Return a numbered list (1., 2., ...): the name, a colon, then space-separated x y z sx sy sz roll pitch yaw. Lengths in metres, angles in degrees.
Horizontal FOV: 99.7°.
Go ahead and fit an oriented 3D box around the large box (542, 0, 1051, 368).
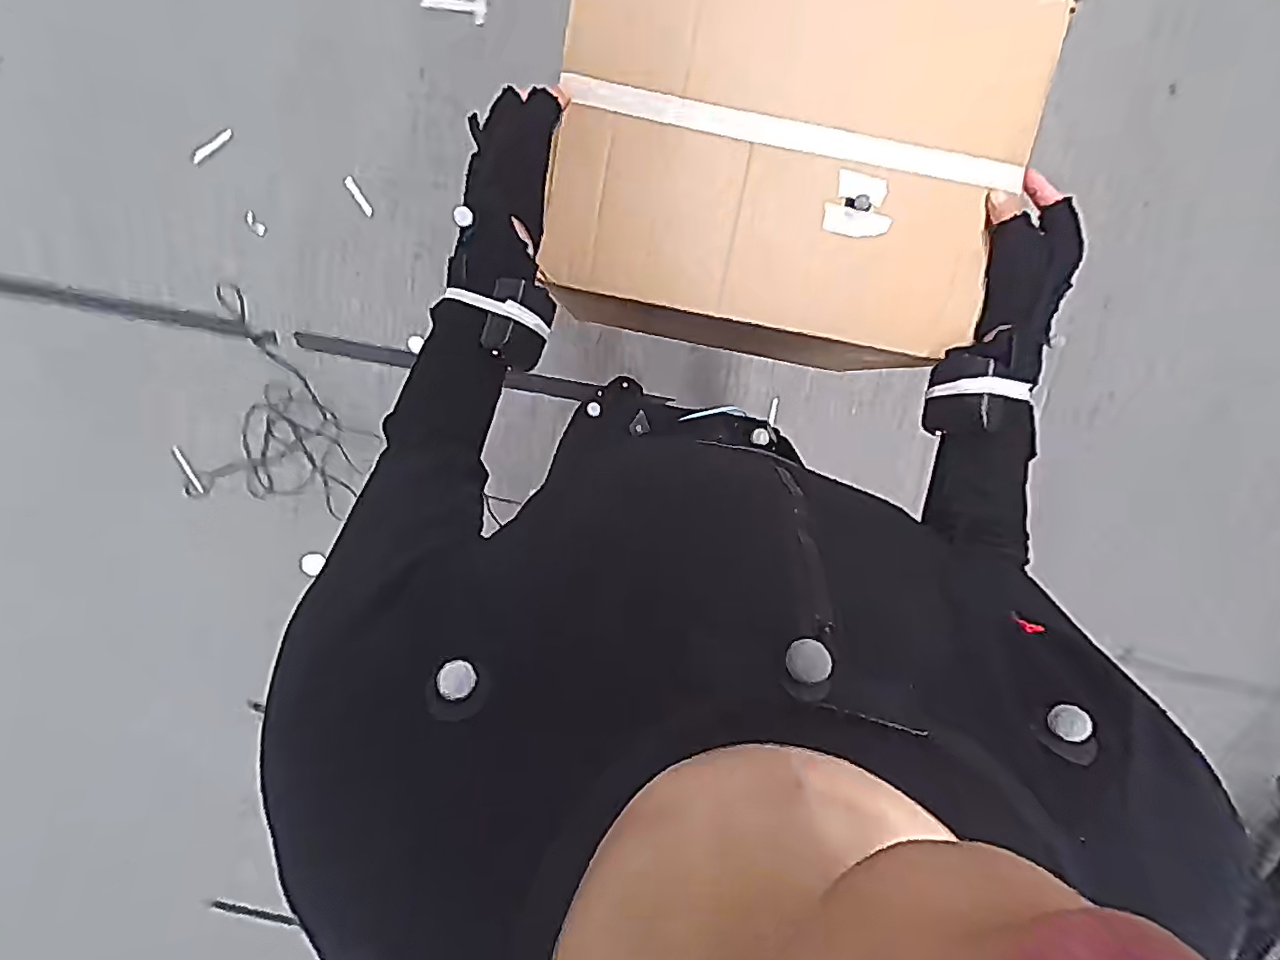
1. large box: 0.127 -0.323 0.625 0.408 0.320 0.320 11 101 -3
